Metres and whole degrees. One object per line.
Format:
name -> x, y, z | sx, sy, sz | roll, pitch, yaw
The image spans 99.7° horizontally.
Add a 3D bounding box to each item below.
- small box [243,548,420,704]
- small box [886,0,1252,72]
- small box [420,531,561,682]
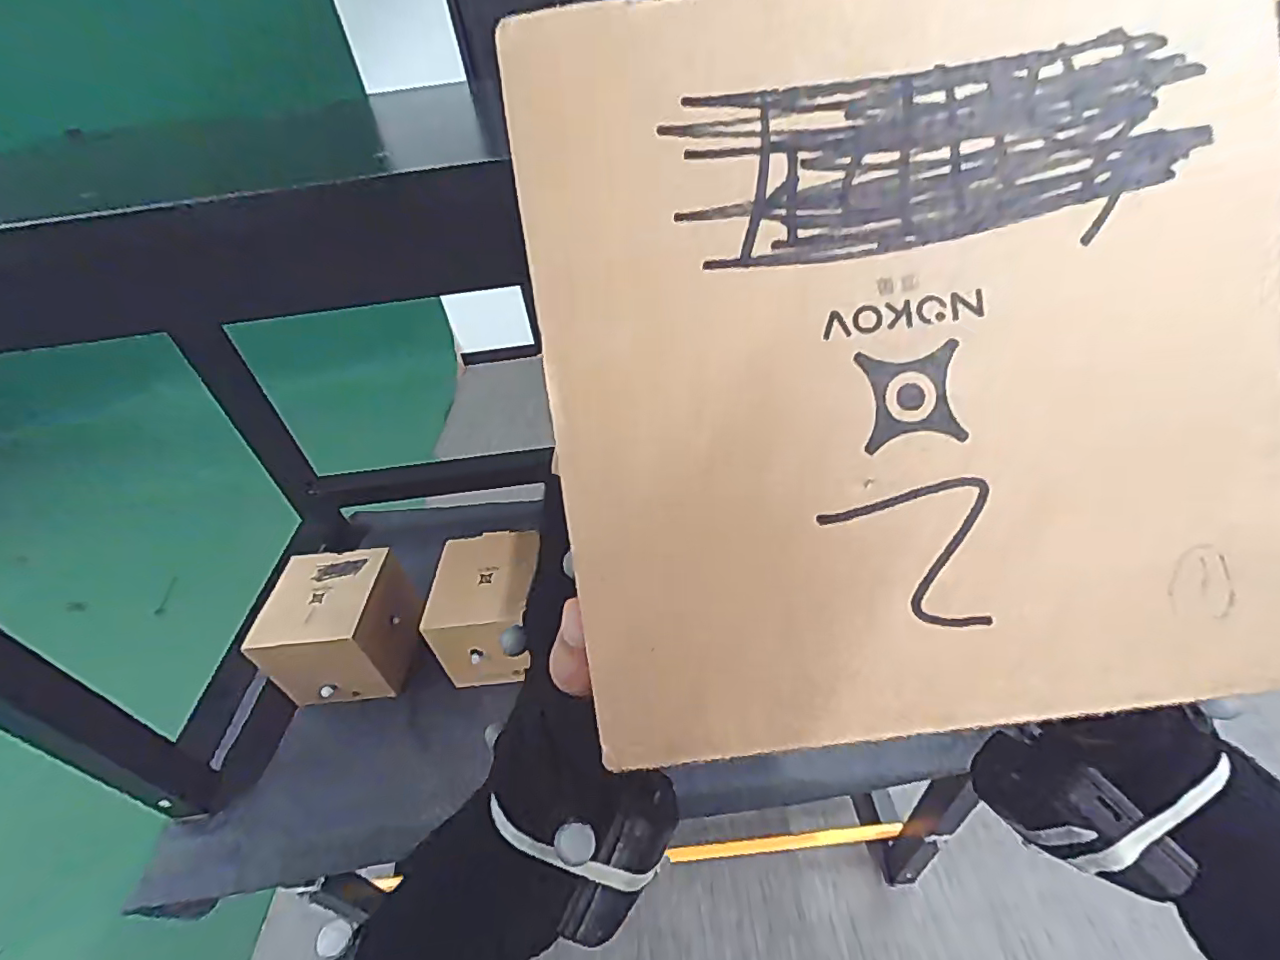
small box -> -0.478, 0.236, 0.876 | 0.168, 0.176, 0.179 | -6, 41, 2
small box -> 0.265, -0.364, 0.329 | 0.168, 0.176, 0.179 | 0, 41, 9
small box -> -0.226, 0.208, 0.873 | 0.168, 0.176, 0.179 | -6, 40, 1
